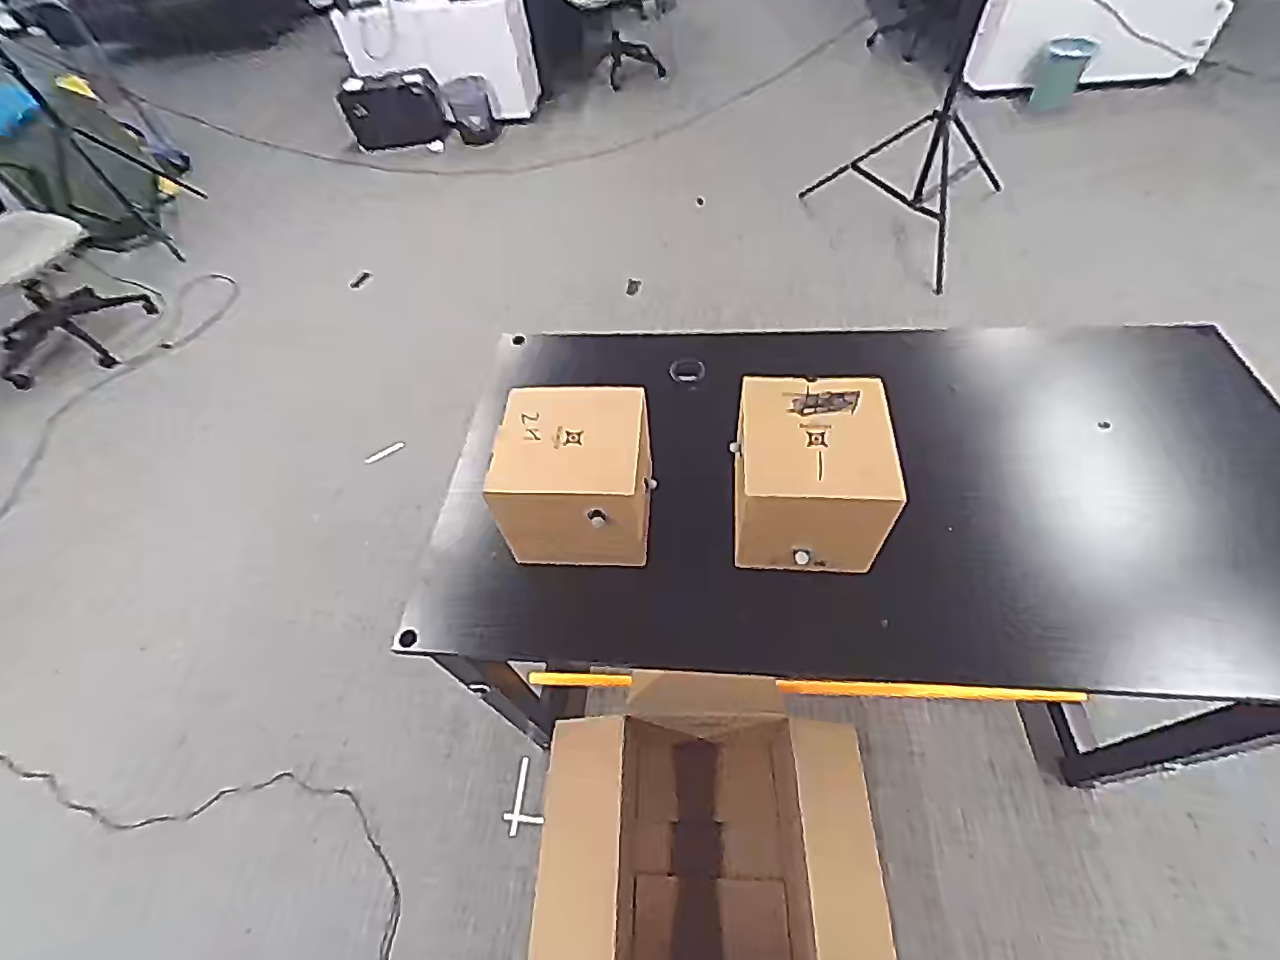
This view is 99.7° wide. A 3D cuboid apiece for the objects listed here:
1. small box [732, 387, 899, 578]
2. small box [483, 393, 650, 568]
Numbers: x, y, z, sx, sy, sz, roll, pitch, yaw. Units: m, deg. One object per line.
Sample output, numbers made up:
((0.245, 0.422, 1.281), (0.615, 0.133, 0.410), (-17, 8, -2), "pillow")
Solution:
((0.204, 0.004, 0.682), (0.168, 0.176, 0.179), (2, 54, 7), "small box")
((-0.080, 0.005, 0.709), (0.179, 0.176, 0.168), (1, 53, 6), "small box")
